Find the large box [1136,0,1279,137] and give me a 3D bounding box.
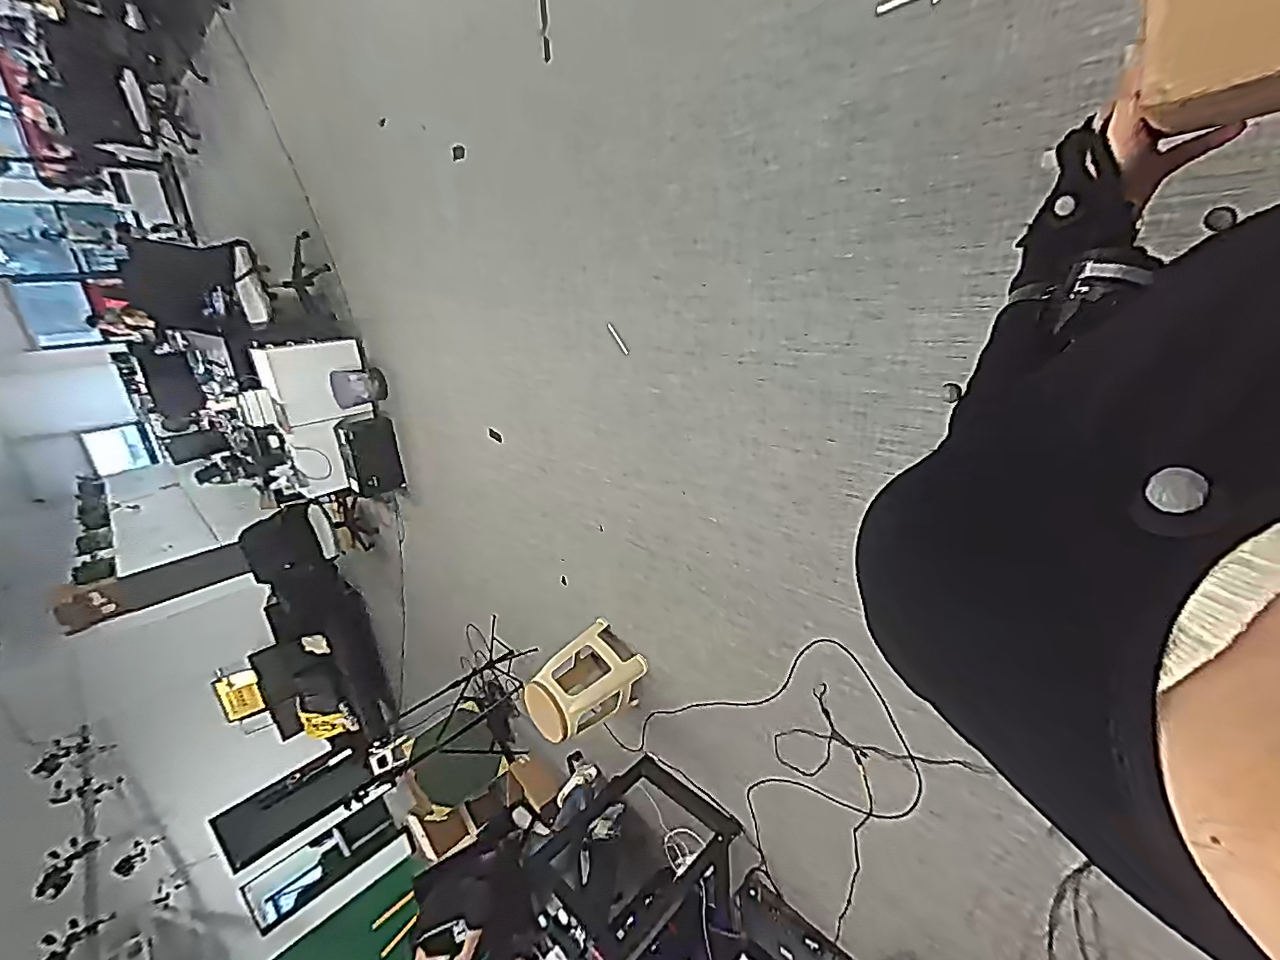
[{"bbox_3d":[0.414,-0.336,0.142,0.408,0.320,0.320,7,117,42],"label":"large box"}]
